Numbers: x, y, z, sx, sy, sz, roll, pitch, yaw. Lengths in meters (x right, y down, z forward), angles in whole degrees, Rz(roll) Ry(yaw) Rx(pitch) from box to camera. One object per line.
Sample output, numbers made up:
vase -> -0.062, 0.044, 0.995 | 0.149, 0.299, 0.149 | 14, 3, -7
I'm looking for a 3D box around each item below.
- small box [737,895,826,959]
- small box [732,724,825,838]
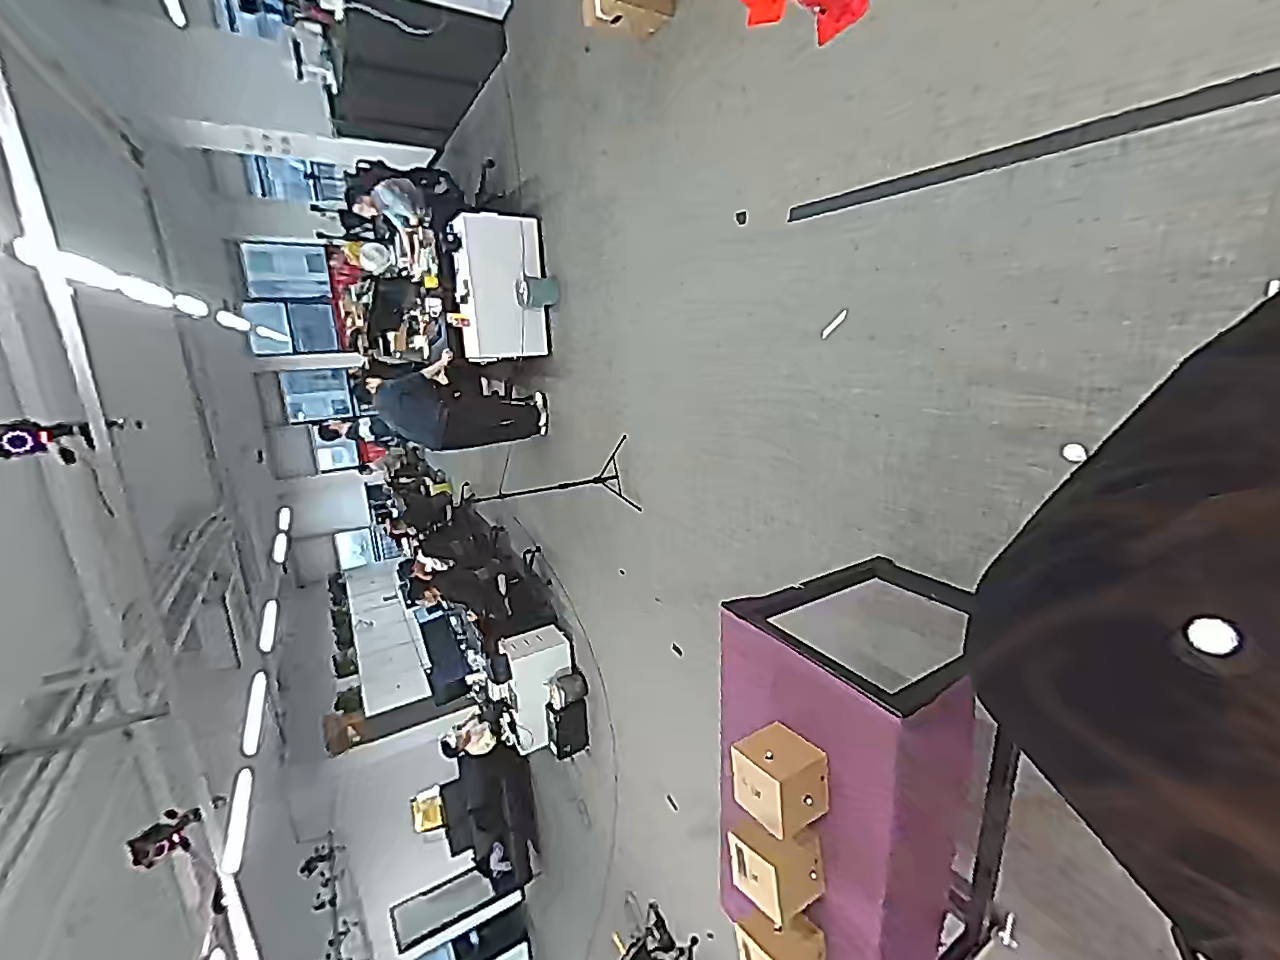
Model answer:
small box -> 0.401, 1.325, 1.525 | 0.179, 0.176, 0.168 | -2, 97, 60
small box -> 0.363, 0.767, 1.403 | 0.179, 0.176, 0.168 | 13, 110, 59
